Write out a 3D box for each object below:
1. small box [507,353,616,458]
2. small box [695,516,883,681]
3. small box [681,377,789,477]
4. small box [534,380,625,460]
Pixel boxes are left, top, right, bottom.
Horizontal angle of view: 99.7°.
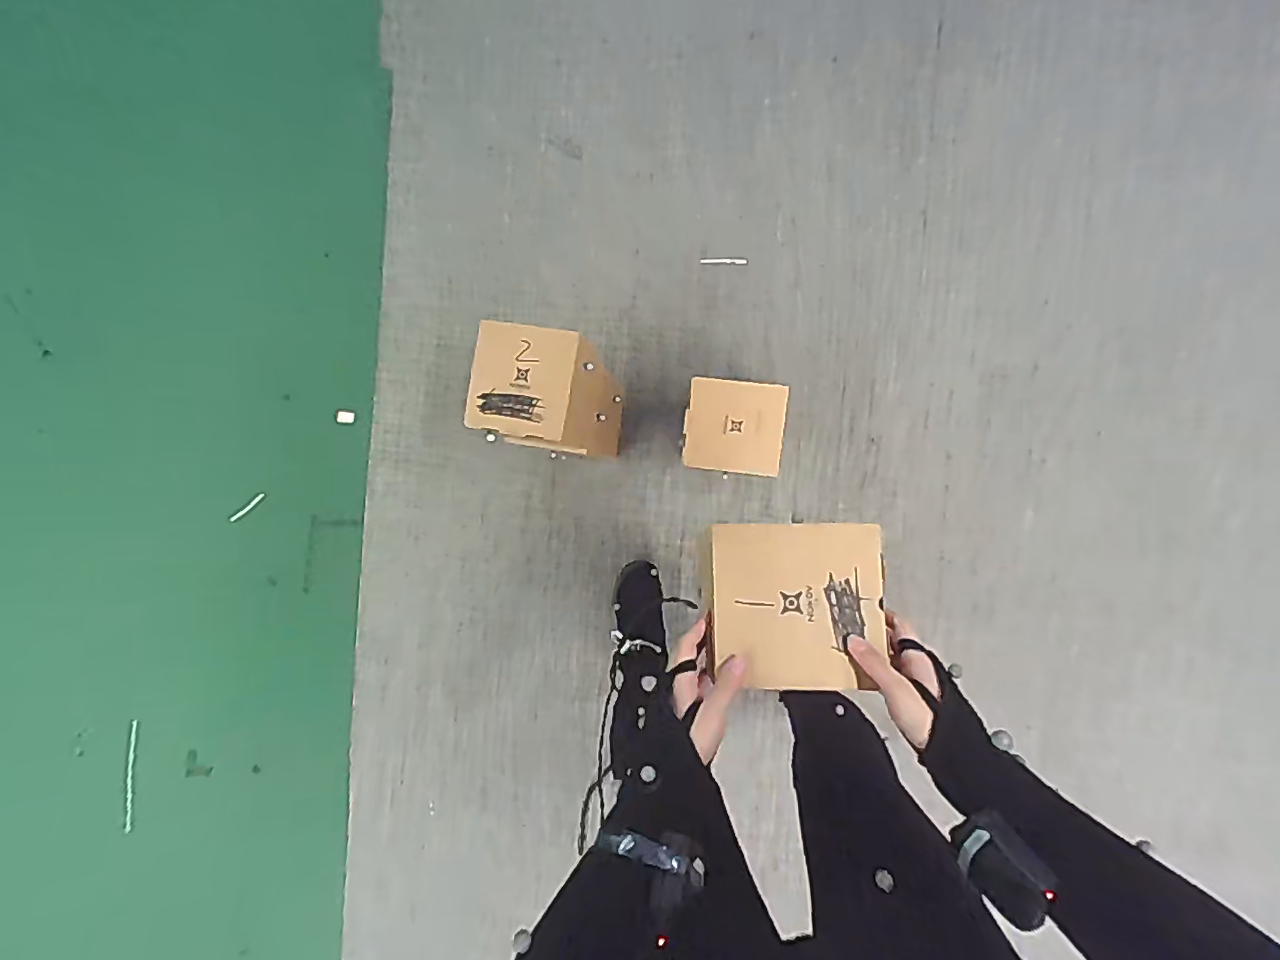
[{"bbox_3d":[-0.152,-0.143,1.098,0.168,0.176,0.179,9,90,7],"label":"small box"},{"bbox_3d":[0.160,0.131,0.632,0.179,0.176,0.168,0,80,2],"label":"small box"},{"bbox_3d":[0.181,-0.096,1.052,0.179,0.176,0.168,7,91,7],"label":"small box"},{"bbox_3d":[-0.134,-0.143,1.261,0.168,0.176,0.179,8,90,8],"label":"small box"}]
